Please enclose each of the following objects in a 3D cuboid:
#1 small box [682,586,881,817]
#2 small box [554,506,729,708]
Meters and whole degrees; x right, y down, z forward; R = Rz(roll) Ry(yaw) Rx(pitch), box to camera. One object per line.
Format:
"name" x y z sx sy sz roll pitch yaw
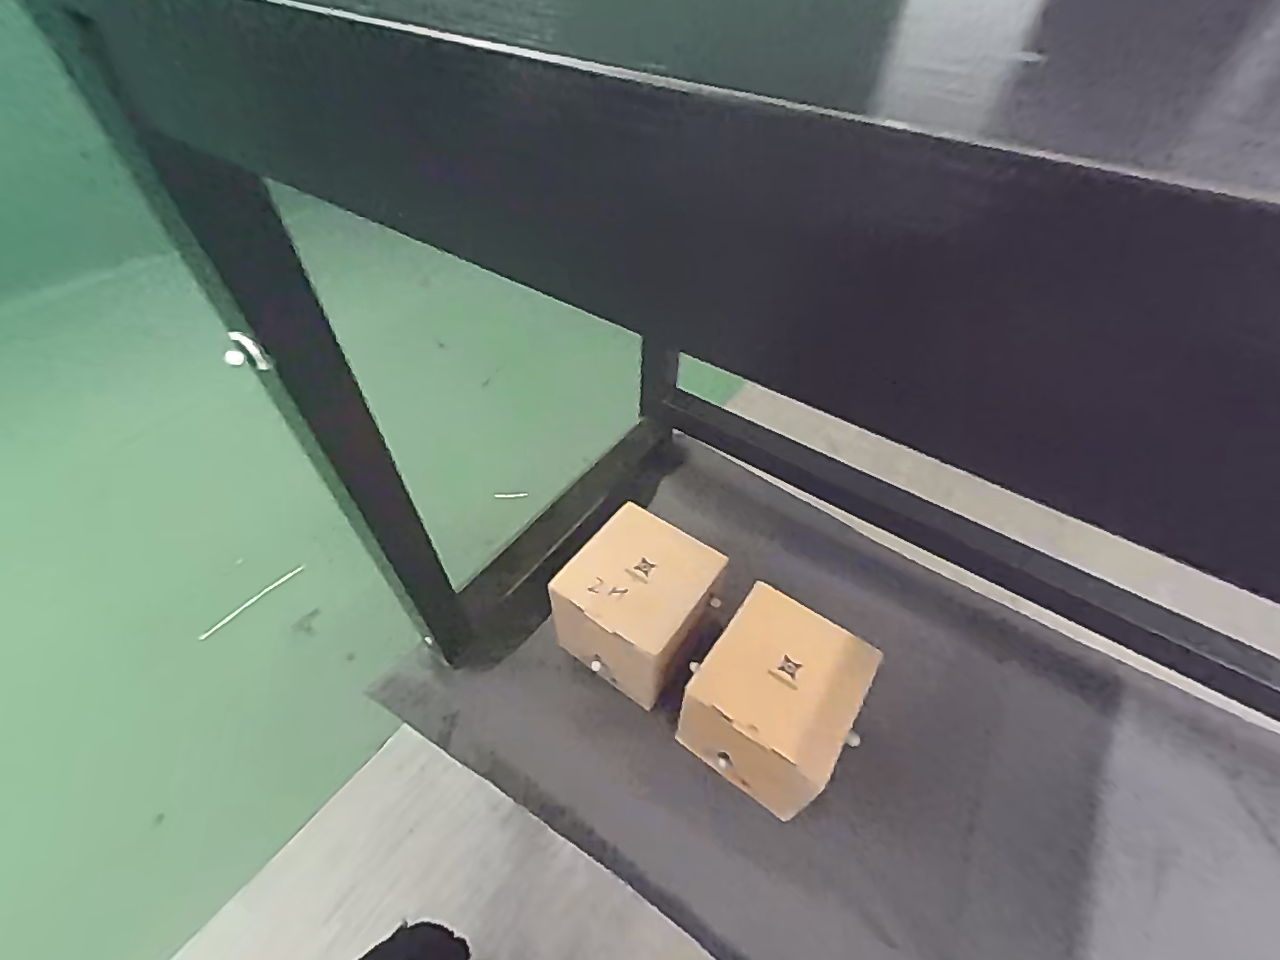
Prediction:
"small box" 0.164 0.274 0.673 0.168 0.176 0.179 29 53 22
"small box" 0.000 0.176 0.753 0.168 0.176 0.179 29 53 22
